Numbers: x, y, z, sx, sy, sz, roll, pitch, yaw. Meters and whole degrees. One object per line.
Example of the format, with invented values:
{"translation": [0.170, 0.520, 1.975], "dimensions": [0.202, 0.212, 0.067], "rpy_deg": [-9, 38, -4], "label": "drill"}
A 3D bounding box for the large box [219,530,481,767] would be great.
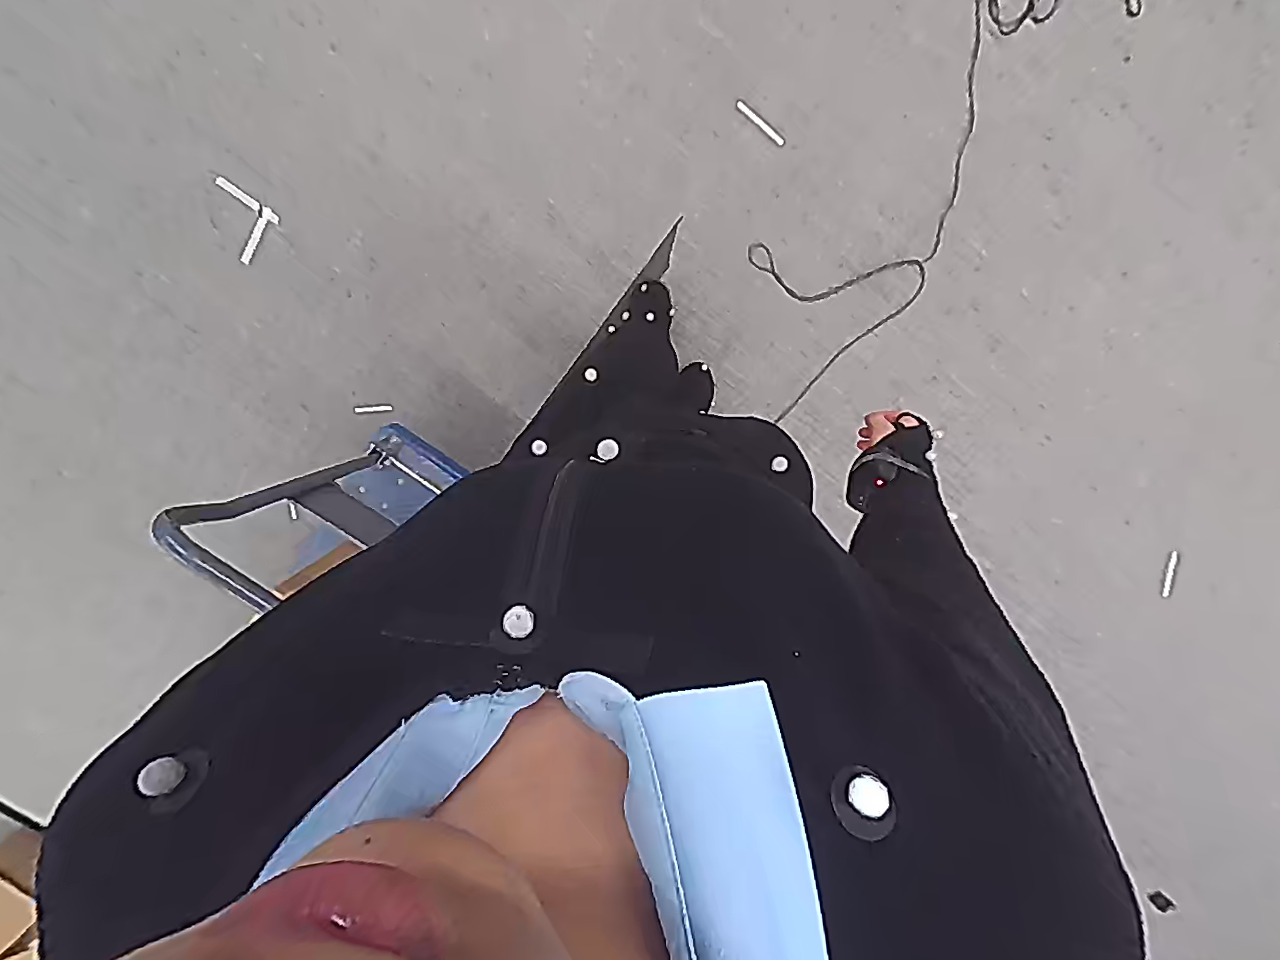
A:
{"translation": [-0.679, 0.392, 1.327], "dimensions": [0.408, 0.320, 0.320], "rpy_deg": [38, 104, -8], "label": "large box"}
